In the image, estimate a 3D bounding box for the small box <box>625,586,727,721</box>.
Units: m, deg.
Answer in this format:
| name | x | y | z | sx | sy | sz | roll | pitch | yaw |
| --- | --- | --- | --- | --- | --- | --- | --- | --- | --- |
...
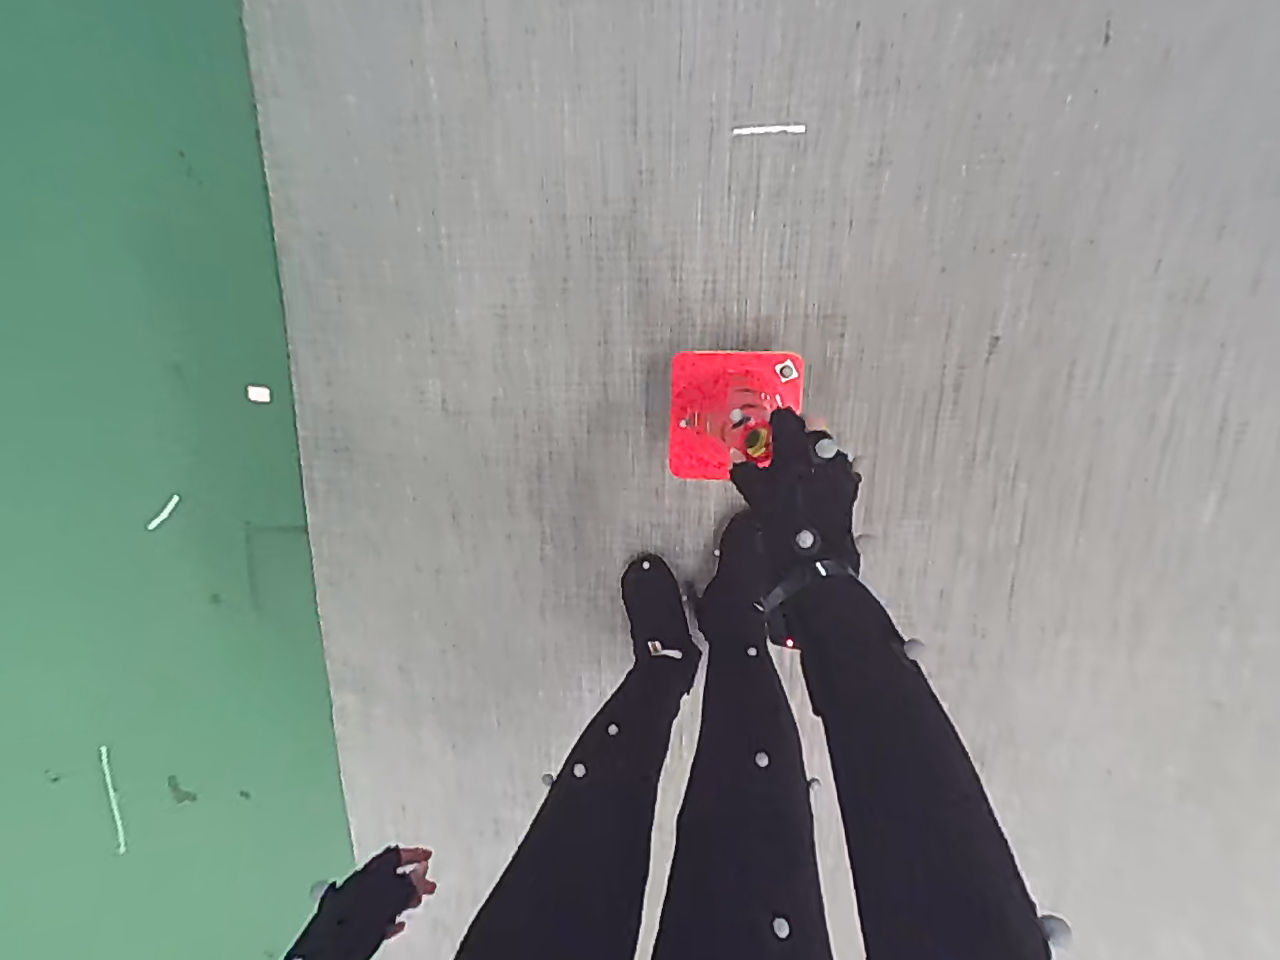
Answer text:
| name | x | y | z | sx | sy | sz | roll | pitch | yaw |
| --- | --- | --- | --- | --- | --- | --- | --- | --- | --- |
| small box | 0.061 | 0.311 | 0.995 | 0.168 | 0.176 | 0.179 | -4 | 99 | -4 |
